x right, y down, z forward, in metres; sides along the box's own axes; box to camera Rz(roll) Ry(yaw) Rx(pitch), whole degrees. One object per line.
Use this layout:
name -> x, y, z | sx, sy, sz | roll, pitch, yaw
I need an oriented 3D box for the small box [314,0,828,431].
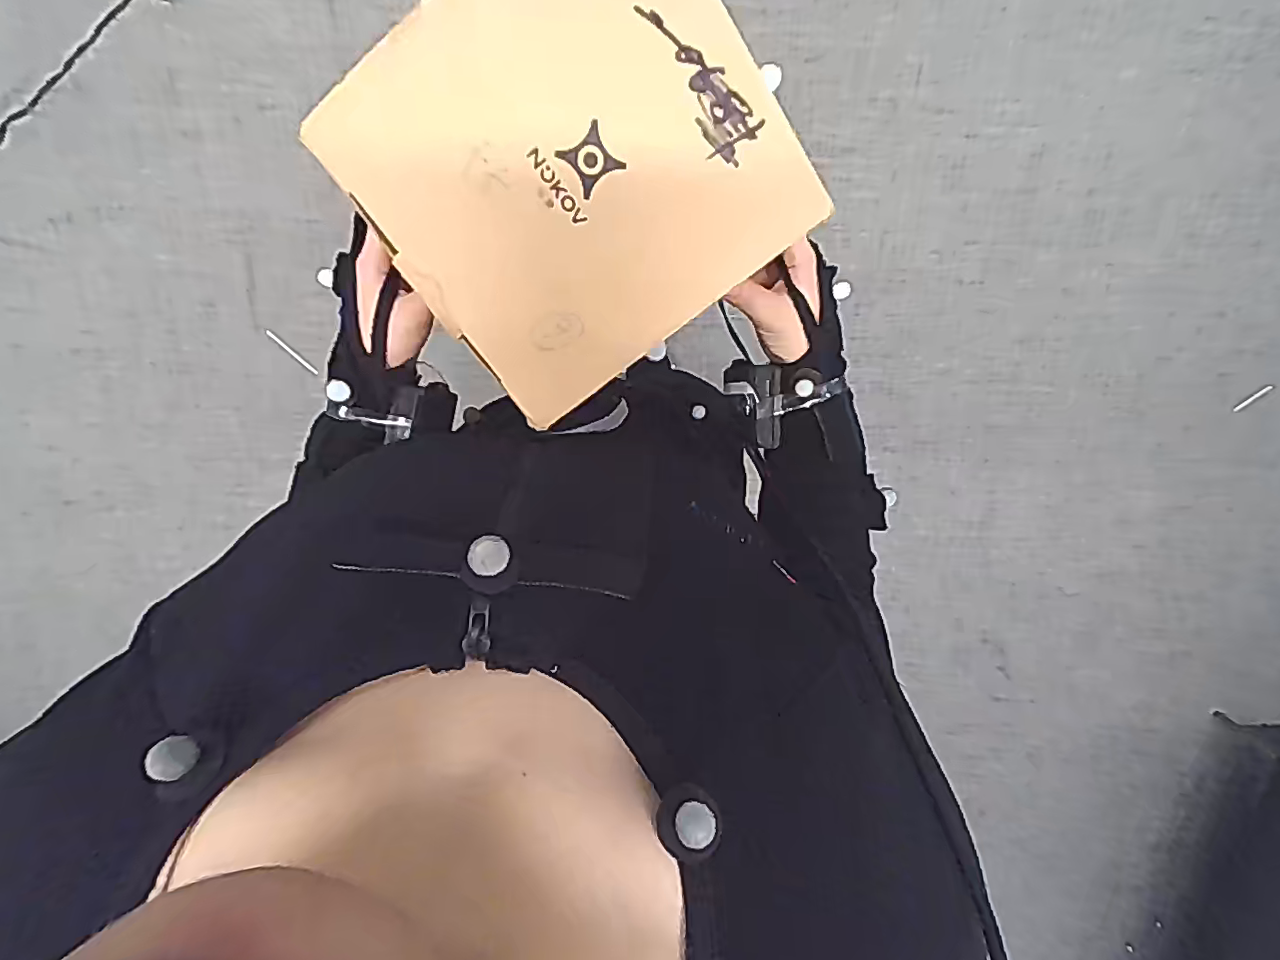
small box -> -0.028, -0.156, 0.316 | 0.179, 0.176, 0.168 | -35, 105, 10
